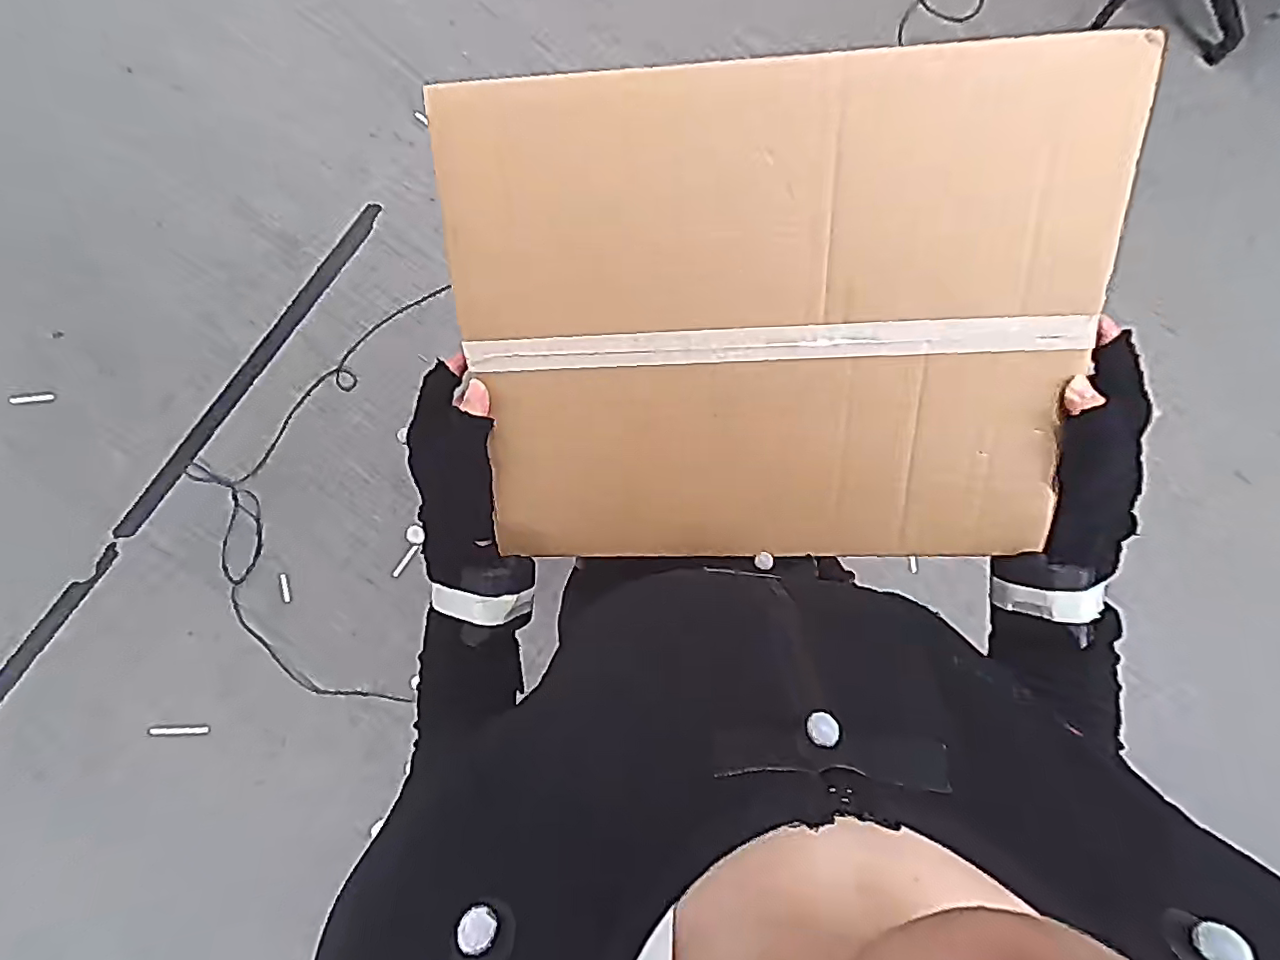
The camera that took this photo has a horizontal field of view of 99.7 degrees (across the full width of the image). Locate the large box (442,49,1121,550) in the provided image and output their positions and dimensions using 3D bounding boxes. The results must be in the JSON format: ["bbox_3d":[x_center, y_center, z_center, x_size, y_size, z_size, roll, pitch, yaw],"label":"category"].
[{"bbox_3d":[0.090,-0.145,0.509,0.408,0.320,0.320,-1,112,4],"label":"large box"}]
